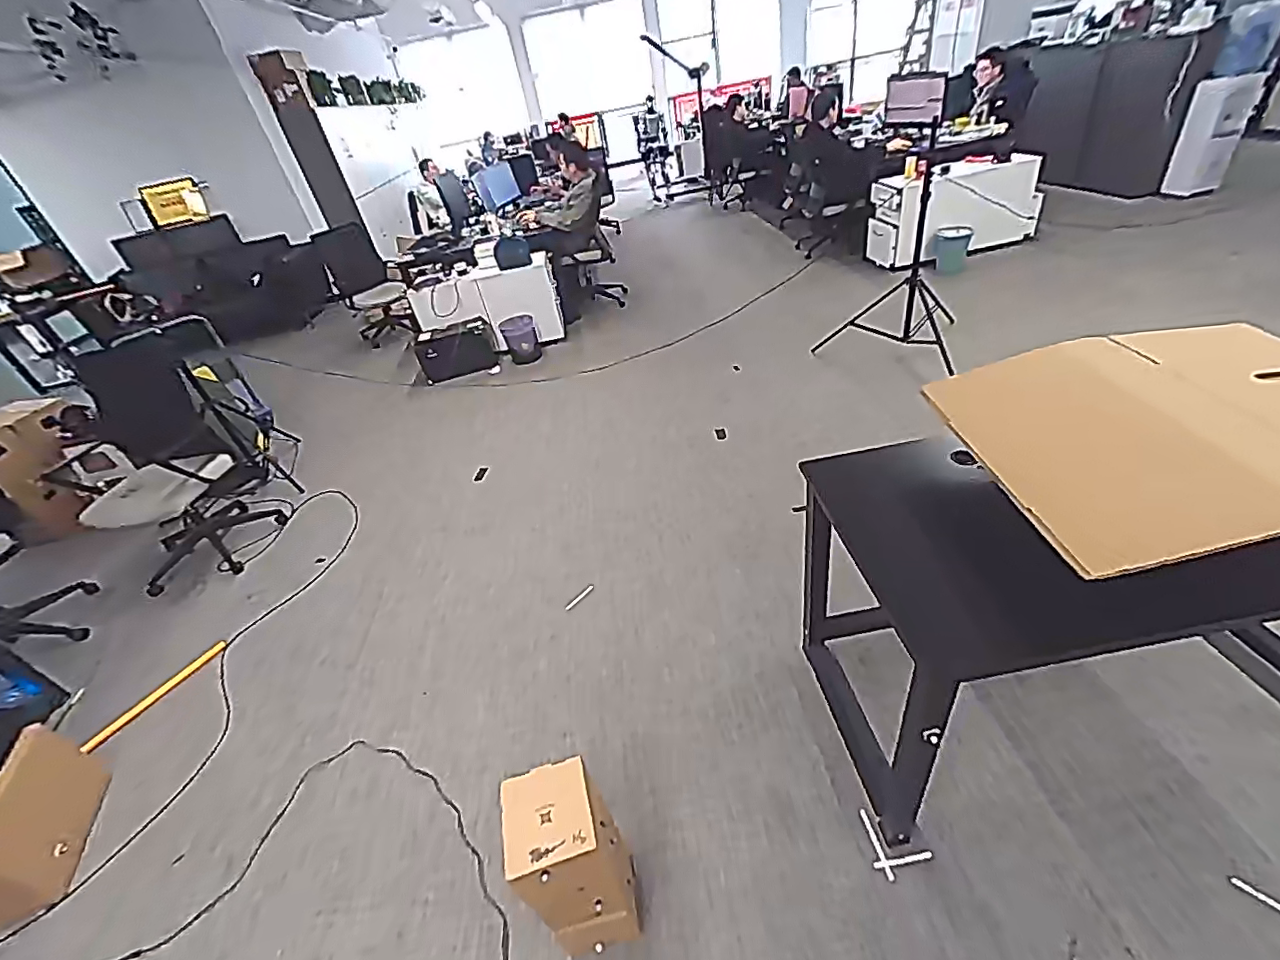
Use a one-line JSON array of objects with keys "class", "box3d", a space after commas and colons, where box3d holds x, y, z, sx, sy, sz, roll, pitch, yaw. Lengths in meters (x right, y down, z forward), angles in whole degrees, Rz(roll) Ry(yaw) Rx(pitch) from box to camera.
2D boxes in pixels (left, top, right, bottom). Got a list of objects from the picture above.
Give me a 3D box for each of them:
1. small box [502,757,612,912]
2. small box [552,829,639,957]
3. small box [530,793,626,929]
[{"class": "small box", "box3d": [-0.161, 0.686, 1.051, 0.168, 0.176, 0.179, -17, 35, -7]}, {"class": "small box", "box3d": [-0.105, 0.946, 1.240, 0.168, 0.176, 0.179, -14, 36, -2]}, {"class": "small box", "box3d": [-0.135, 0.815, 1.150, 0.168, 0.176, 0.179, -15, 34, -5]}]
